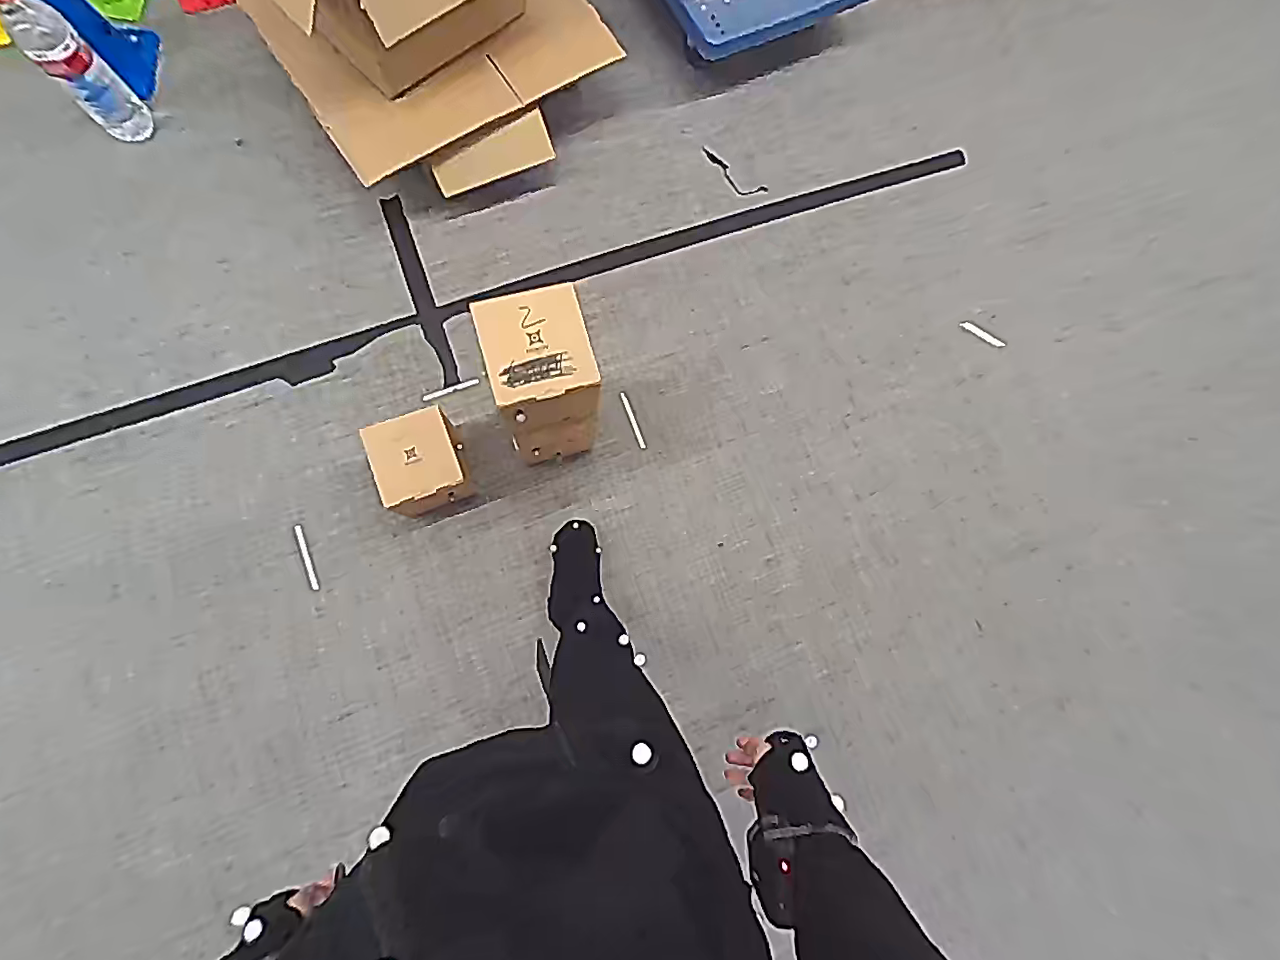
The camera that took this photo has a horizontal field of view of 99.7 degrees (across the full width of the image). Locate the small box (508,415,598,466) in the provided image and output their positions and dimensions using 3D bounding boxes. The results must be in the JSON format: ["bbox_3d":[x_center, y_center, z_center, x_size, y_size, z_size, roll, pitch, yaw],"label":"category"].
[{"bbox_3d":[-0.204,-0.141,1.228,0.179,0.176,0.168,-15,83,-10],"label":"small box"}]

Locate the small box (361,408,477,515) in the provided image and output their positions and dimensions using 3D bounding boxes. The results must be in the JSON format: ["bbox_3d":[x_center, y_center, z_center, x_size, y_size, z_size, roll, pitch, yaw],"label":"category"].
[{"bbox_3d":[-0.469,-0.031,1.176,0.168,0.176,0.179,-21,82,-11],"label":"small box"}]

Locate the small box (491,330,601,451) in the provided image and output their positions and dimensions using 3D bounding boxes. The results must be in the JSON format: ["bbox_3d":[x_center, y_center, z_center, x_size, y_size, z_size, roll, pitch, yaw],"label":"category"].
[{"bbox_3d":[-0.180,-0.165,1.066,0.168,0.176,0.179,-17,82,-10],"label":"small box"}]
